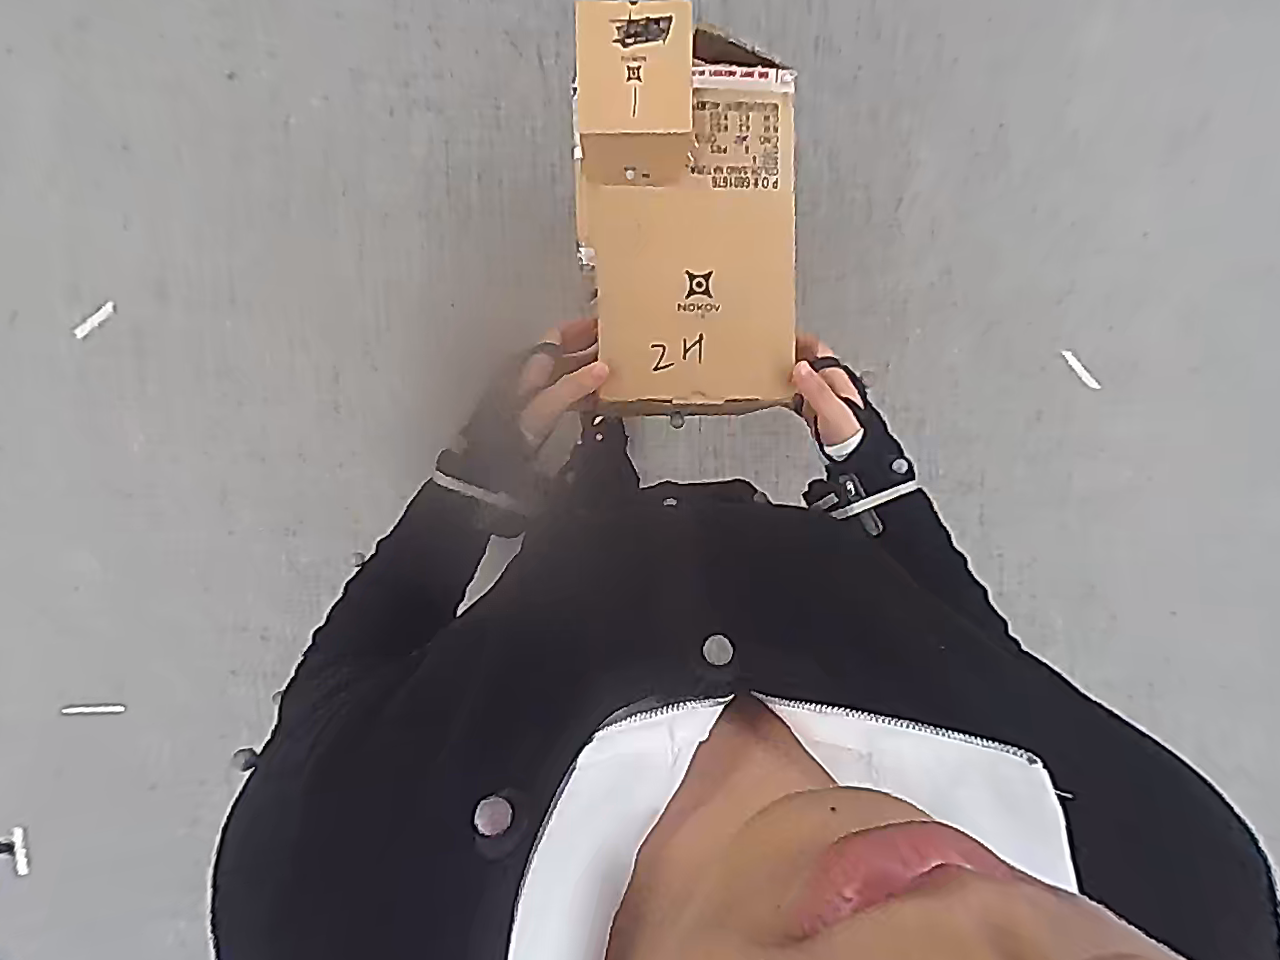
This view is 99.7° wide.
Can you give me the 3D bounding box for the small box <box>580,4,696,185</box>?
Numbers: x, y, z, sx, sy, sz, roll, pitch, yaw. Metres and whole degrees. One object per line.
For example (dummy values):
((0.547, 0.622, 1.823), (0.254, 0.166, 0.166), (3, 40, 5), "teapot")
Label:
((-0.005, -0.587, 0.843), (0.168, 0.176, 0.179), (-1, 98, -1), "small box")
